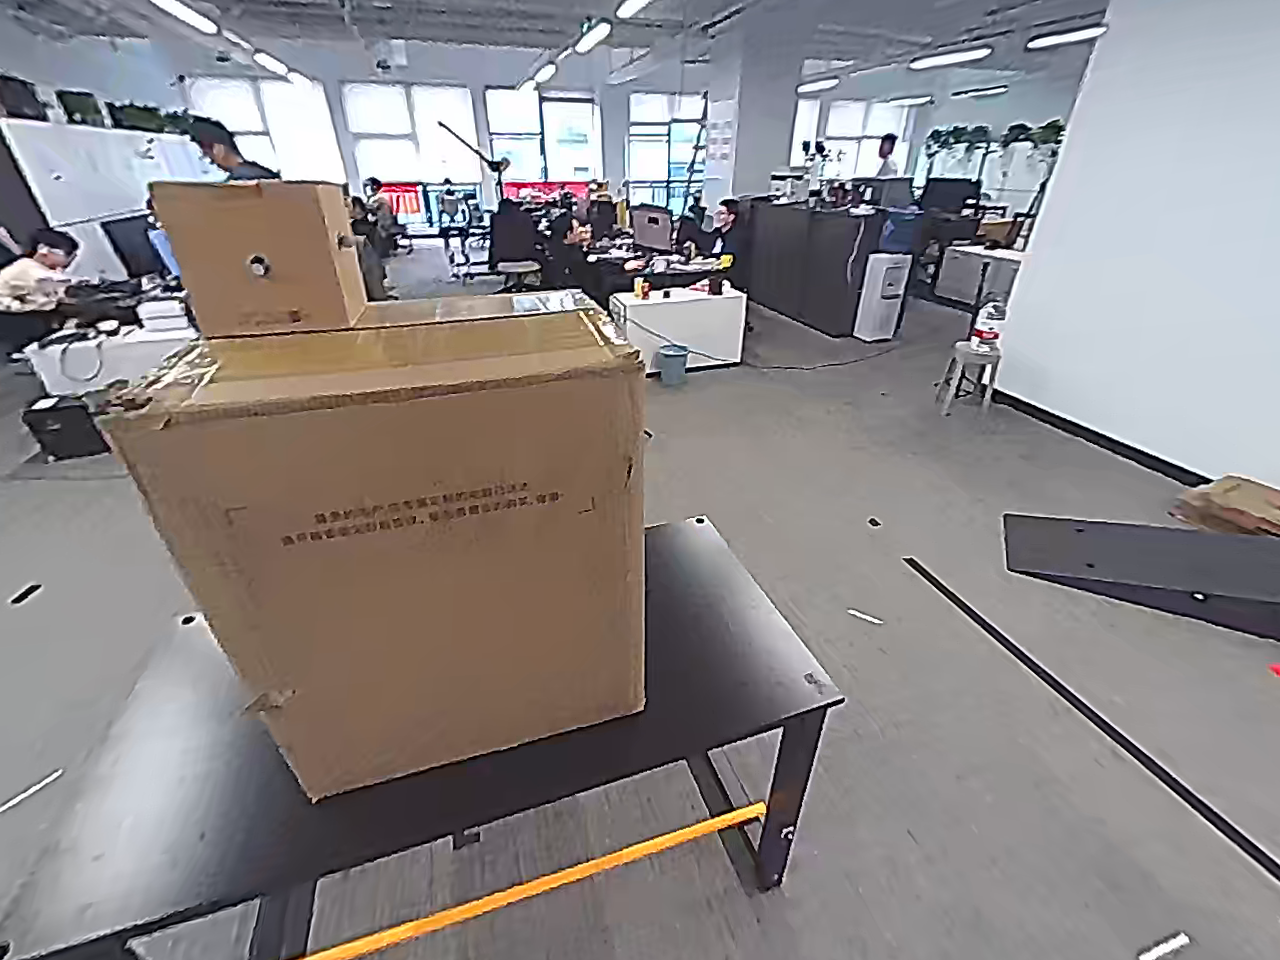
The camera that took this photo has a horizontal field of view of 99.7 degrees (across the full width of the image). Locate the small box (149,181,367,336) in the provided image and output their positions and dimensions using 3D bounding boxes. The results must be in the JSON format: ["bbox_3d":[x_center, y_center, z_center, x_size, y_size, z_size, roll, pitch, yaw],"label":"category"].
[{"bbox_3d":[-0.466,-0.286,0.697,0.168,0.176,0.179,-9,30,-16],"label":"small box"}]
